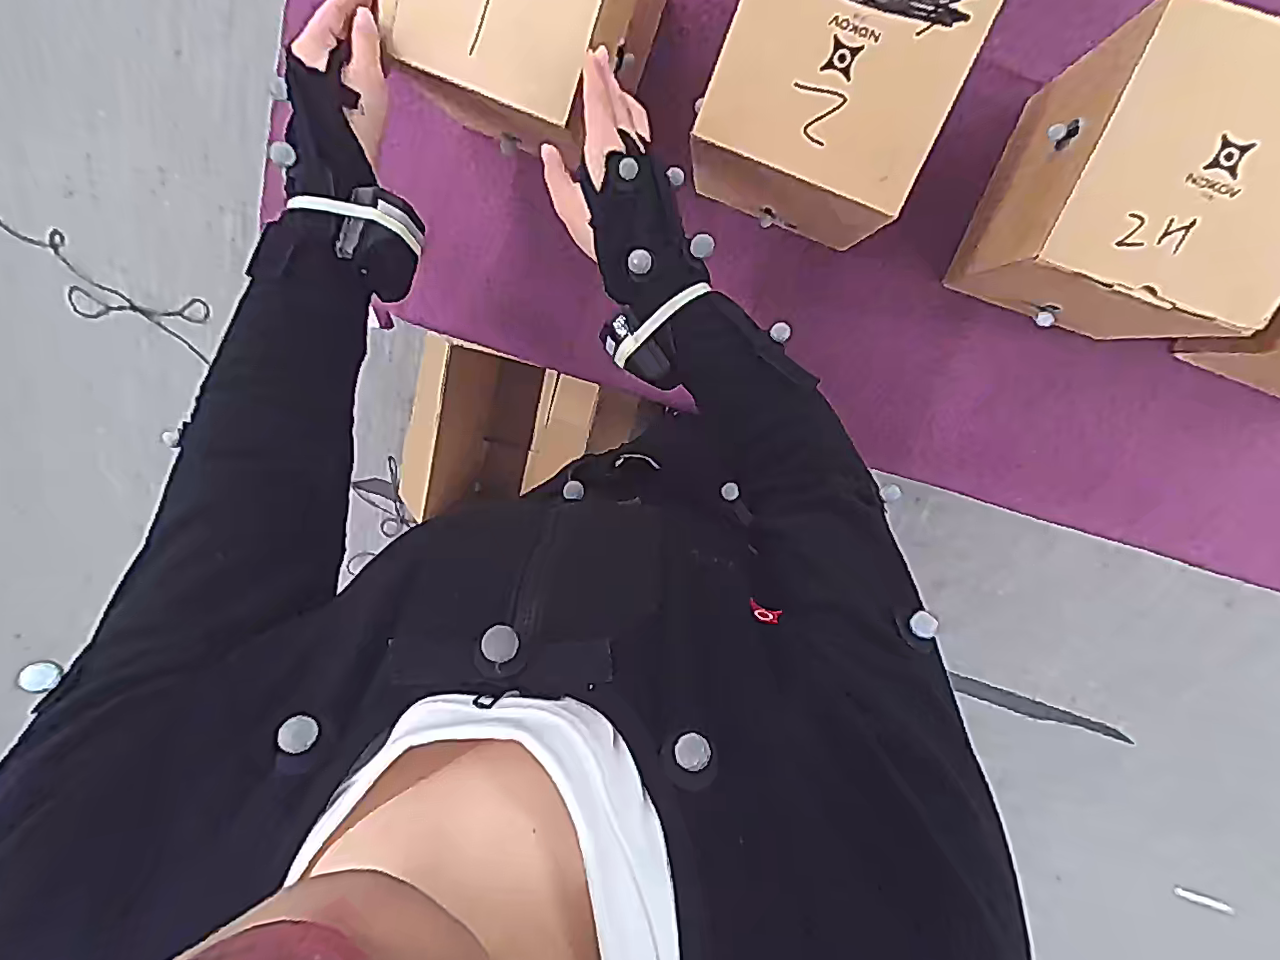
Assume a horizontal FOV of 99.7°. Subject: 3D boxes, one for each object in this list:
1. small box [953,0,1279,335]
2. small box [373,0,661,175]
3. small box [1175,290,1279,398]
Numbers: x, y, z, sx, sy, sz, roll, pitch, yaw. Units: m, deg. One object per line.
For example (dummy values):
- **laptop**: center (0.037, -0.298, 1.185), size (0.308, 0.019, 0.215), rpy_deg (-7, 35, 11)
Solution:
- **small box**: center (0.399, -0.231, 0.444), size (0.168, 0.176, 0.179), rpy_deg (21, 105, 2)
- **small box**: center (-0.087, -0.396, 0.459), size (0.168, 0.176, 0.179), rpy_deg (23, 108, 0)
- **small box**: center (0.625, -0.149, 0.439), size (0.179, 0.176, 0.168), rpy_deg (23, 104, 1)
